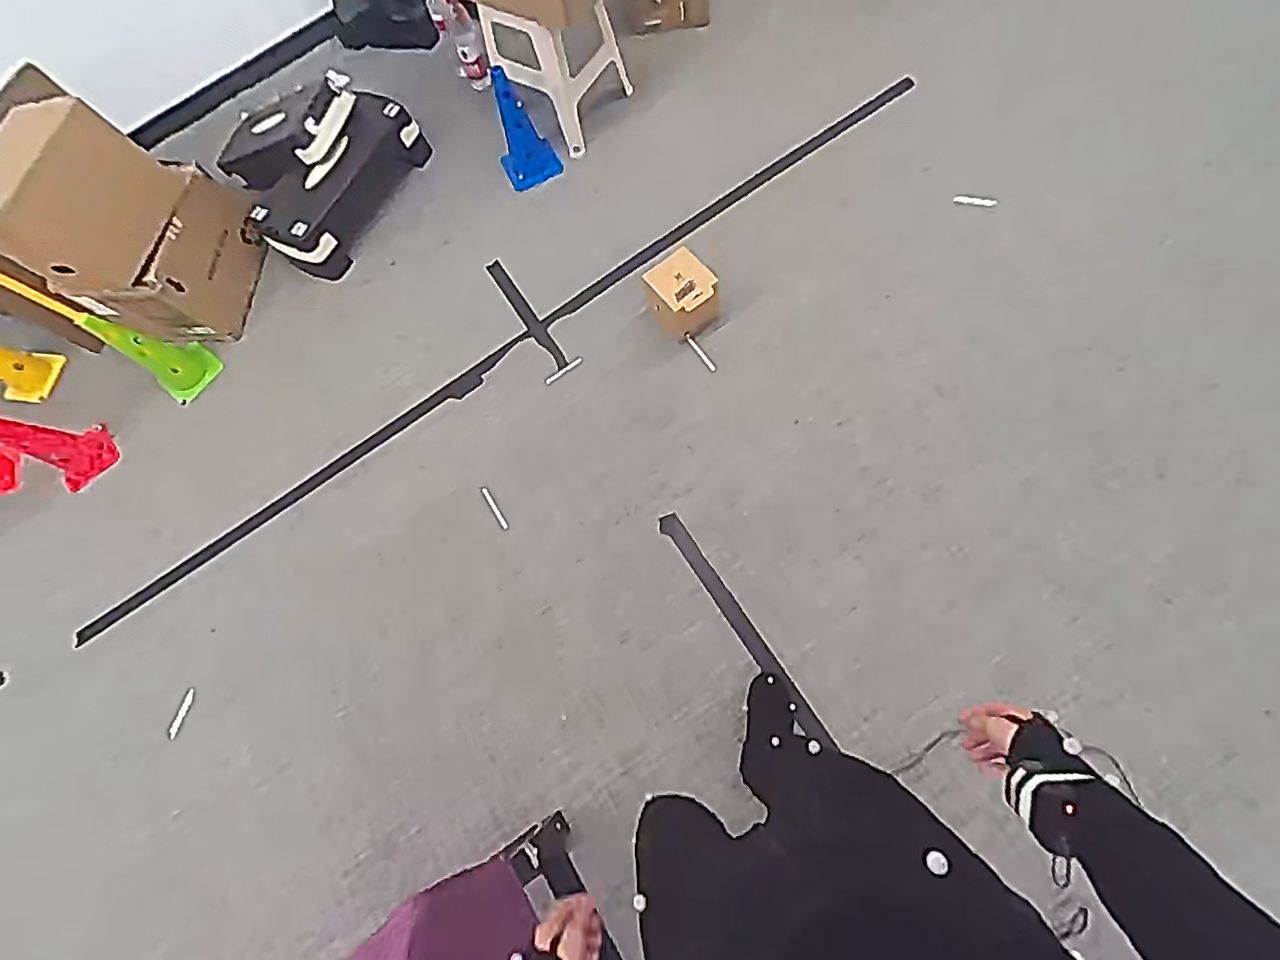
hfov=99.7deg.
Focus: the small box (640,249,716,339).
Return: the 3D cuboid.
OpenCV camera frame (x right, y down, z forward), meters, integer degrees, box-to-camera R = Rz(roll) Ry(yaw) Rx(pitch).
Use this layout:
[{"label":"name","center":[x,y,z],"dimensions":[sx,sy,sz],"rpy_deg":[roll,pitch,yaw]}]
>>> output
[{"label":"small box","center":[0.125,-0.567,1.684],"dimensions":[0.168,0.176,0.179],"rpy_deg":[-36,71,-4]}]
